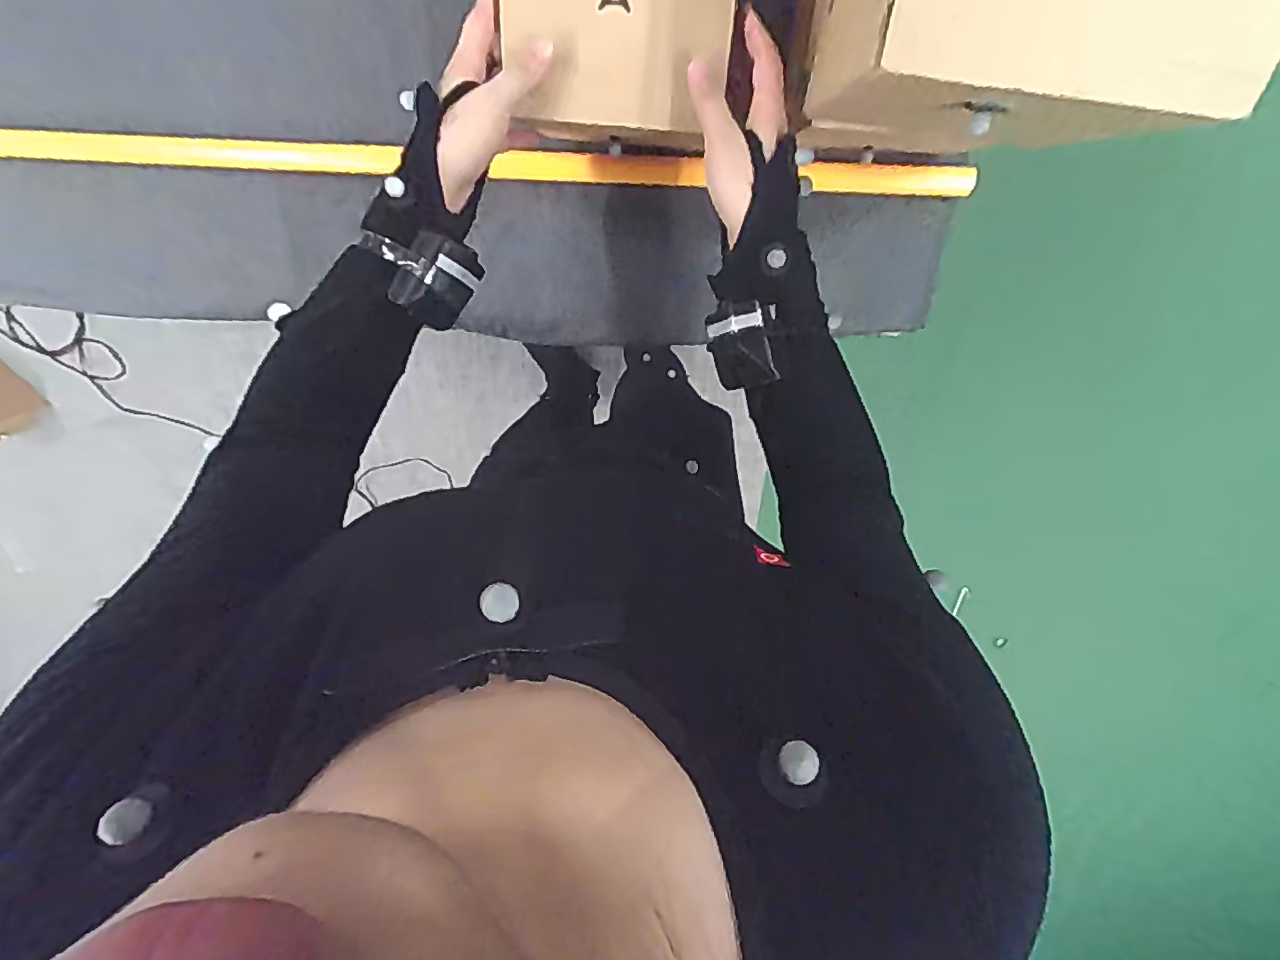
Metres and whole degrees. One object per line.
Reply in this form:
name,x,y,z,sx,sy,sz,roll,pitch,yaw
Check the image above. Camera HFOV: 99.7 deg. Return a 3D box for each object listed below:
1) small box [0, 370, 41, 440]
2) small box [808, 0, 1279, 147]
small box,-1.834,-0.198,1.482,0.168,0.176,0.179,-29,112,18
small box,0.204,-0.282,0.282,0.179,0.176,0.168,8,119,0
